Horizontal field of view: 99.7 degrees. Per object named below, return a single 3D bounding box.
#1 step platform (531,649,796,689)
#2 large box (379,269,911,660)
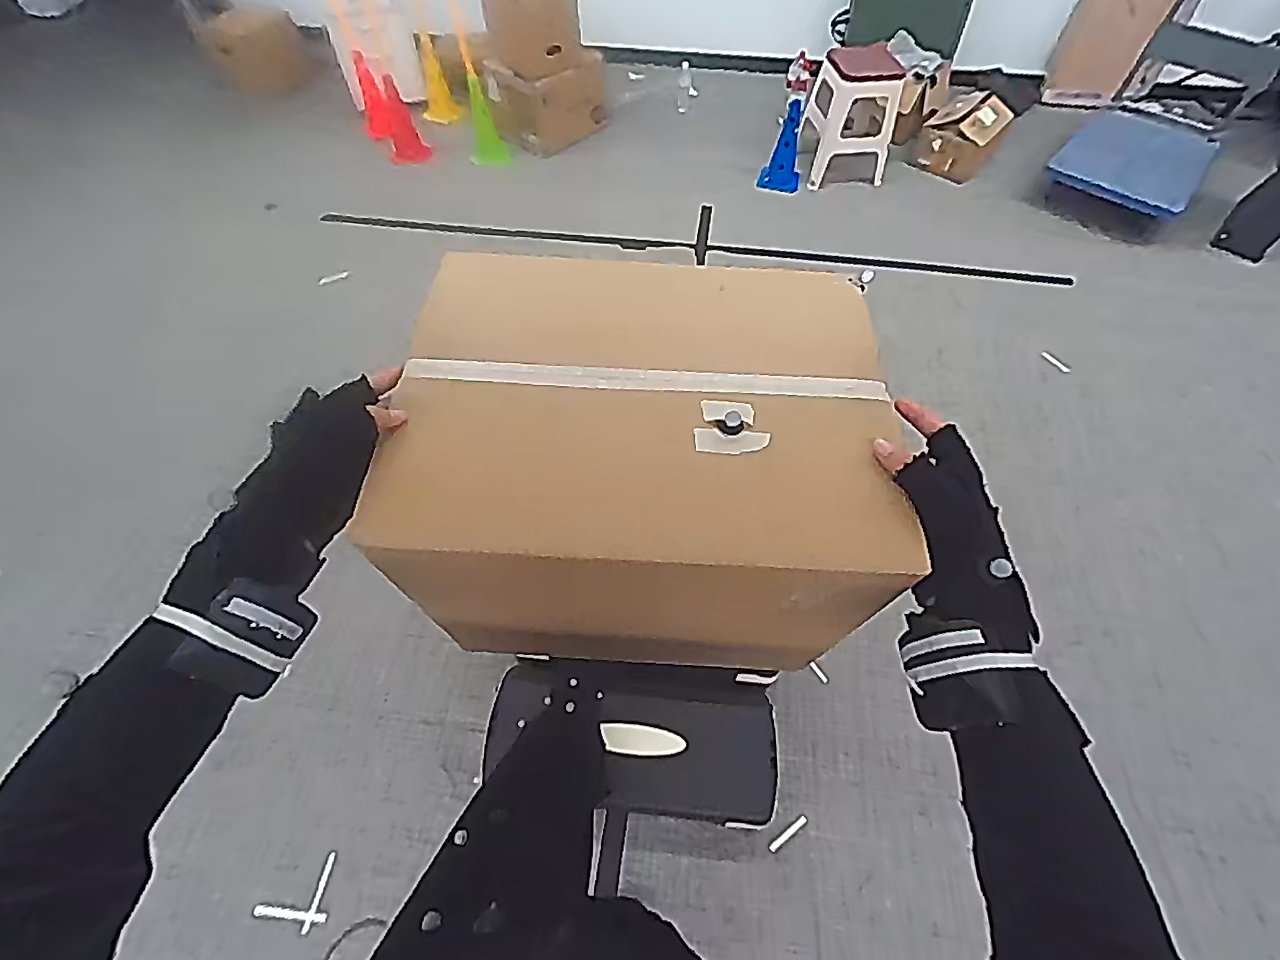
[{"bbox_3d":[0.057,0.346,1.404,0.684,0.204,0.286,6,57,2],"label":"step platform"},{"bbox_3d":[0.003,0.002,0.600,0.408,0.320,0.320,4,59,0],"label":"large box"}]
